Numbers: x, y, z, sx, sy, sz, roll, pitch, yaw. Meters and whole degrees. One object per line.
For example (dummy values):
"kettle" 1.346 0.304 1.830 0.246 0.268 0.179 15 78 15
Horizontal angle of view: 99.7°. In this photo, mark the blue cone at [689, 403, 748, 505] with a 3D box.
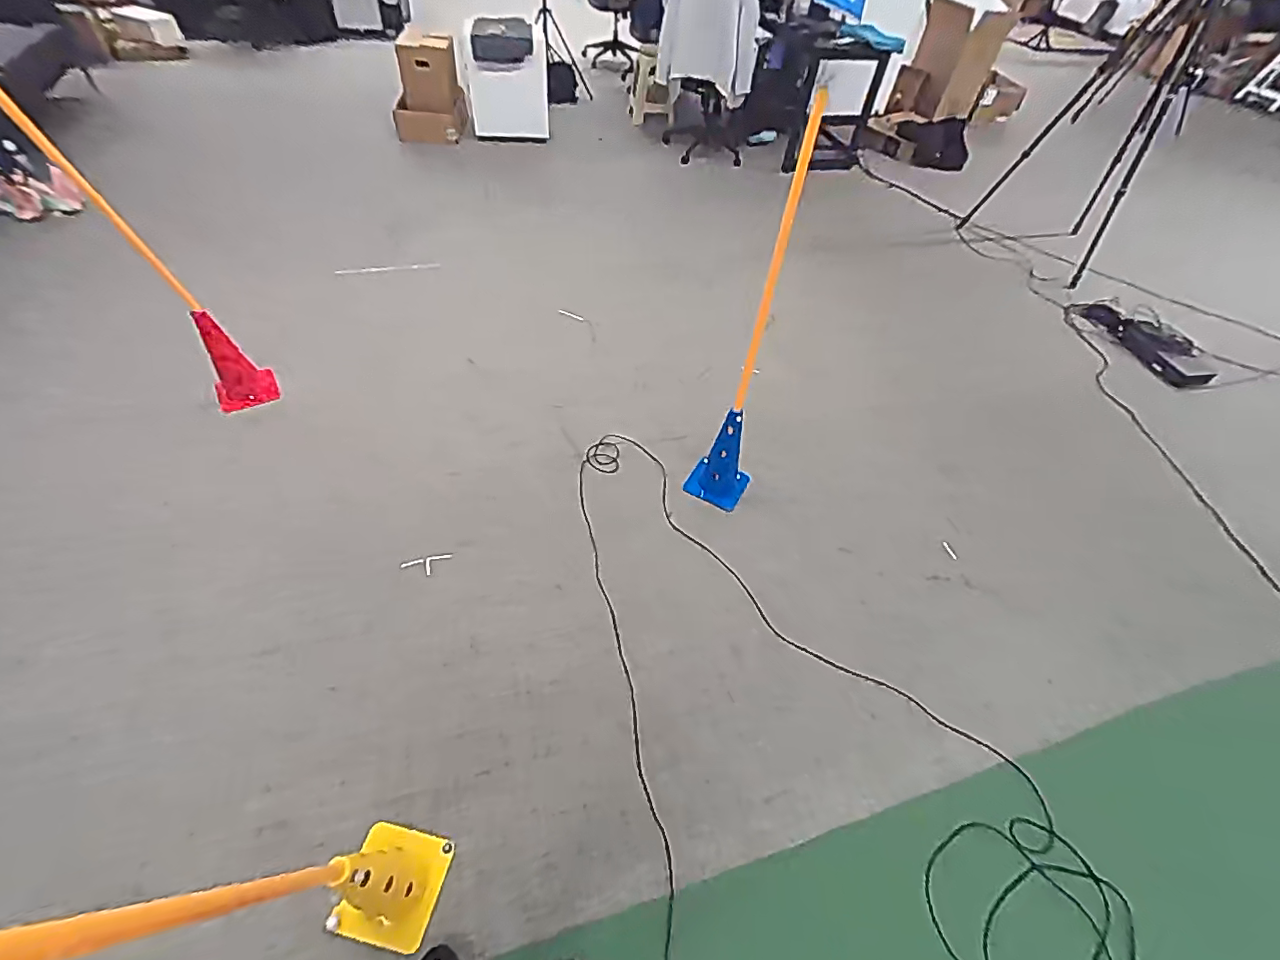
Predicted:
"blue cone" 0.298 -0.110 1.843 0.192 0.380 0.193 24 49 15
